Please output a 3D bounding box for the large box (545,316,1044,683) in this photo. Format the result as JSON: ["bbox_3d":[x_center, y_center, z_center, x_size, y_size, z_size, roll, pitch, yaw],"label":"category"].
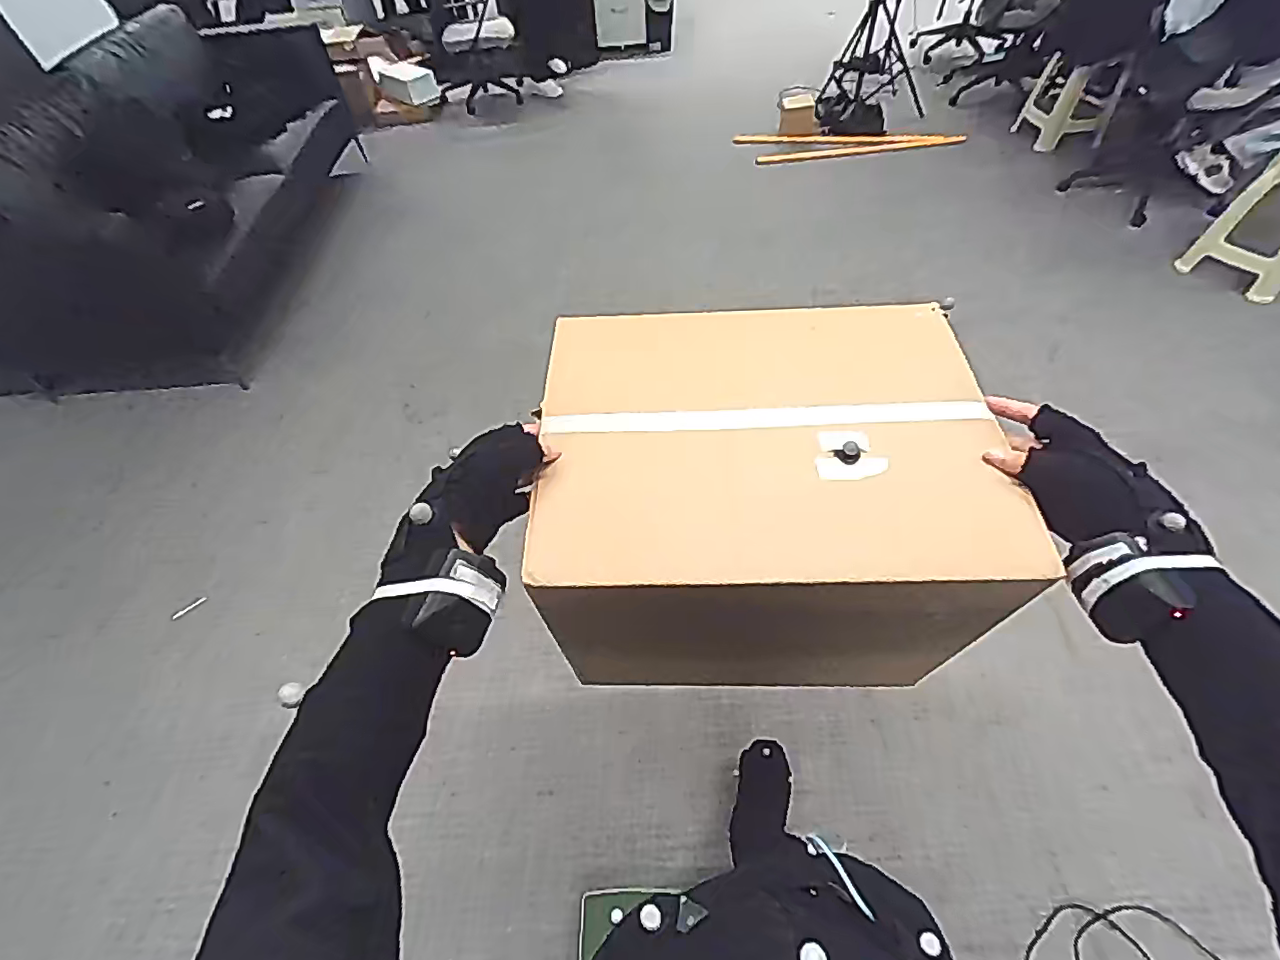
[{"bbox_3d":[0.123,0.037,0.632,0.408,0.320,0.320,-1,56,2],"label":"large box"}]
